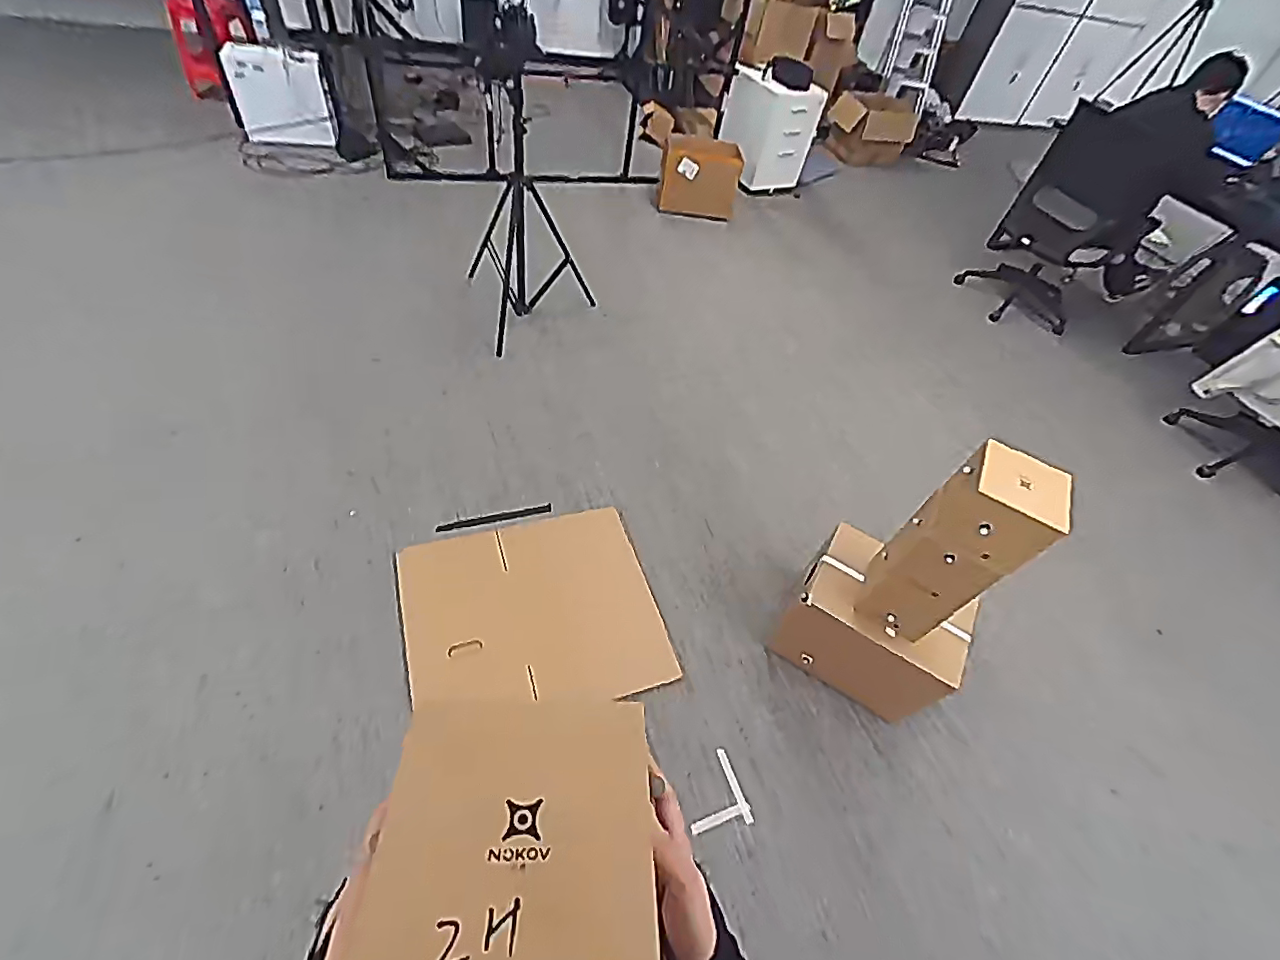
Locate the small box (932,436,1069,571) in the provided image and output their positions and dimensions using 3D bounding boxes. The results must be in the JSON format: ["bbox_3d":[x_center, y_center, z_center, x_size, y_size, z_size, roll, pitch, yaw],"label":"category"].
[{"bbox_3d":[0.720,0.051,1.092,0.168,0.176,0.179,29,51,13],"label":"small box"}]

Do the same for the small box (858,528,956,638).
[{"bbox_3d":[0.667,0.256,1.342,0.168,0.176,0.179,29,52,13],"label":"small box"}]

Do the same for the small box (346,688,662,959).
[{"bbox_3d":[-0.082,0.271,0.381,0.168,0.176,0.179,3,40,-7],"label":"small box"}]

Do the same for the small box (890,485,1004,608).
[{"bbox_3d":[0.694,0.151,1.219,0.168,0.176,0.179,29,51,13],"label":"small box"}]
